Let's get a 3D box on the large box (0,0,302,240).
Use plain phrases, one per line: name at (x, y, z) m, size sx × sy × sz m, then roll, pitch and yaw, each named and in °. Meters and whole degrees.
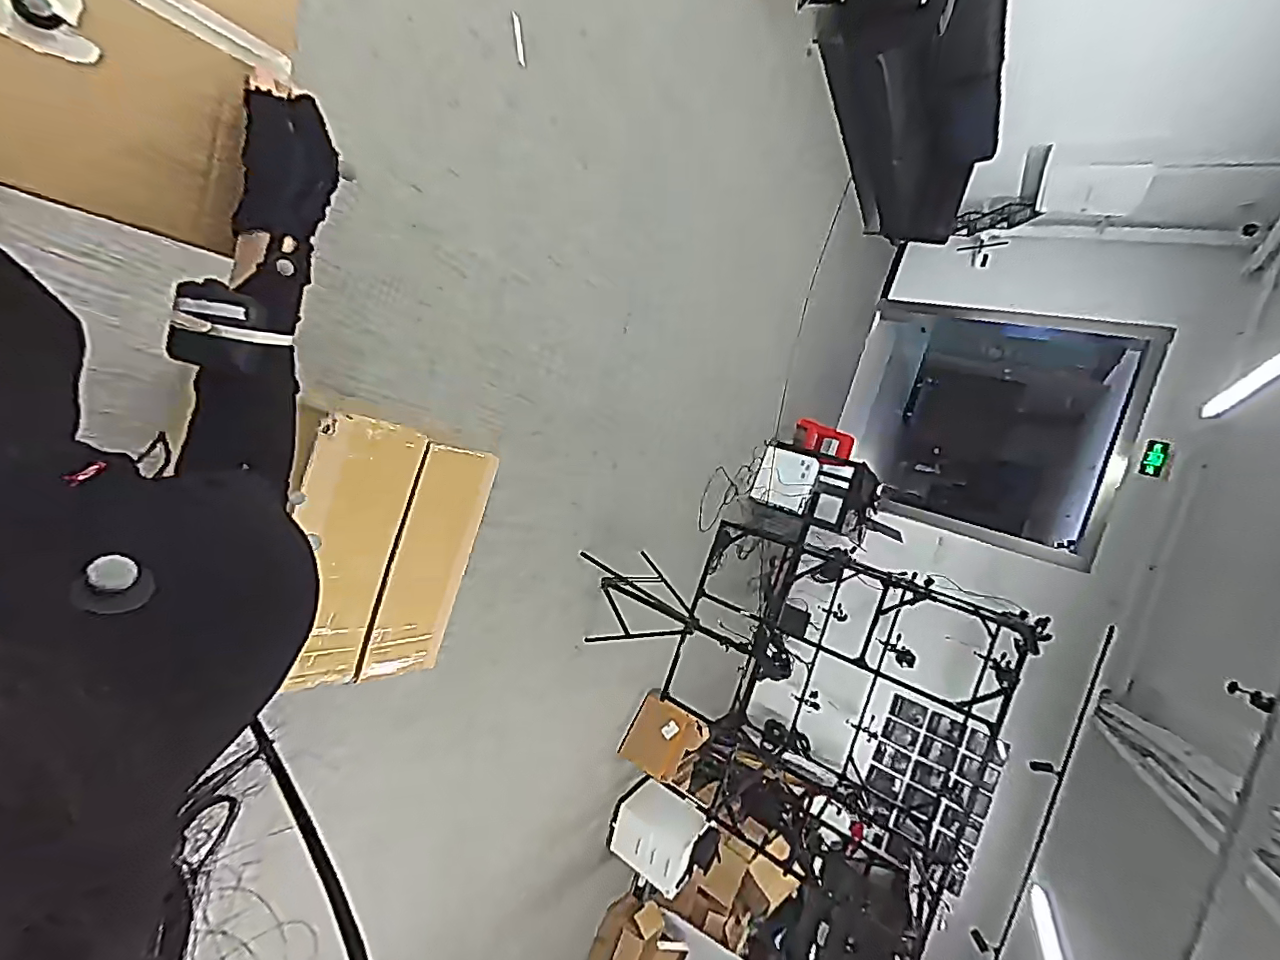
large box at (-0.509, -0.411, 0.360) m, size 0.408 × 0.320 × 0.320 m, roll 5°, pitch 110°, yaw -54°
